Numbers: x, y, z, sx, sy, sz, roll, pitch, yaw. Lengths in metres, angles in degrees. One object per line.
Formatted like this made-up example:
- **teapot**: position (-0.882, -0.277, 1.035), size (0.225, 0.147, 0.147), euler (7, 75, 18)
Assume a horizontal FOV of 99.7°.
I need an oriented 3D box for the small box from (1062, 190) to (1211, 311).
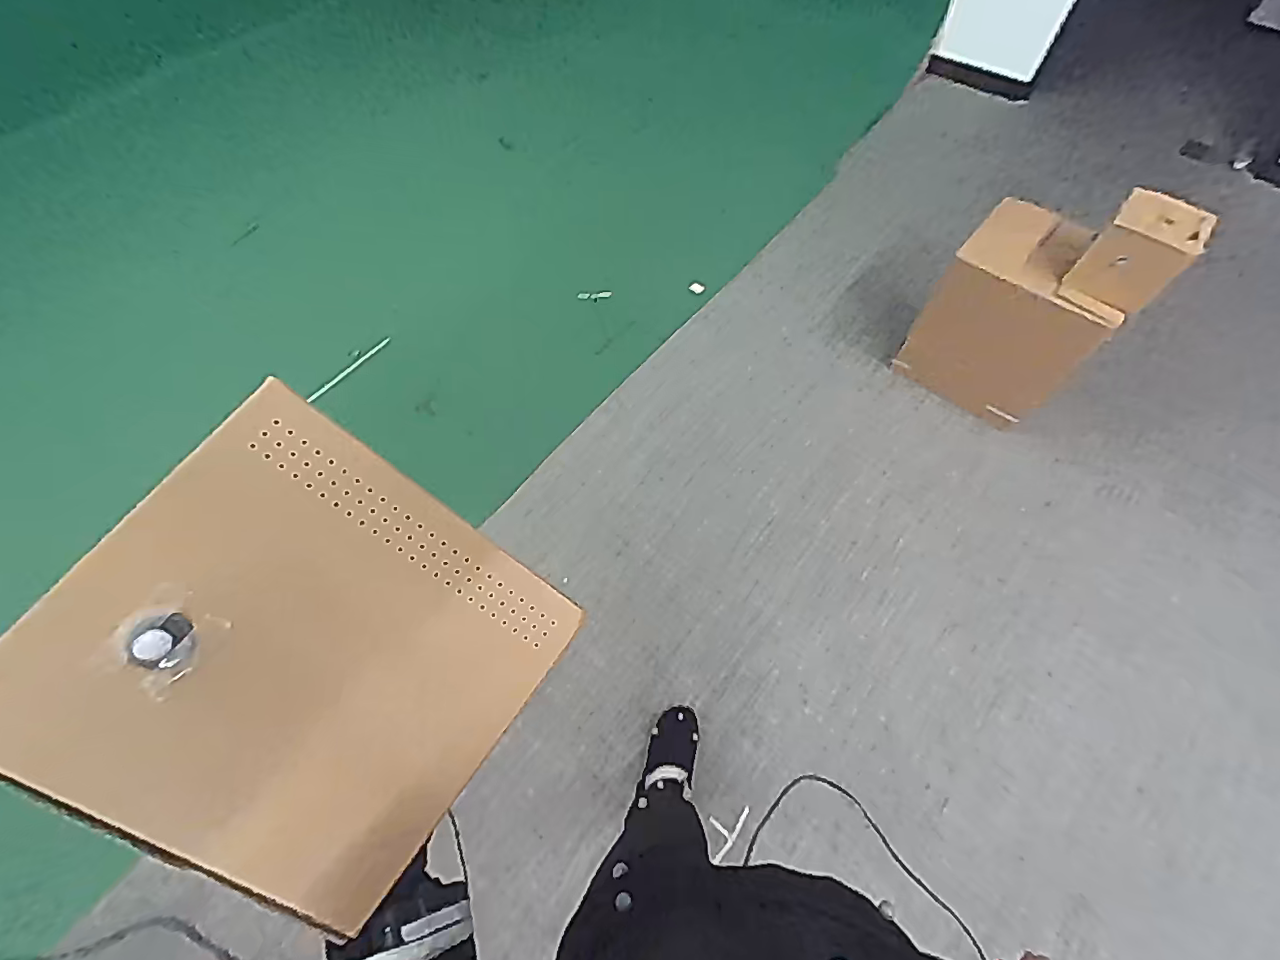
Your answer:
- **small box**: position (1.139, -0.528, 1.256), size (0.179, 0.176, 0.168), euler (35, 69, 20)
